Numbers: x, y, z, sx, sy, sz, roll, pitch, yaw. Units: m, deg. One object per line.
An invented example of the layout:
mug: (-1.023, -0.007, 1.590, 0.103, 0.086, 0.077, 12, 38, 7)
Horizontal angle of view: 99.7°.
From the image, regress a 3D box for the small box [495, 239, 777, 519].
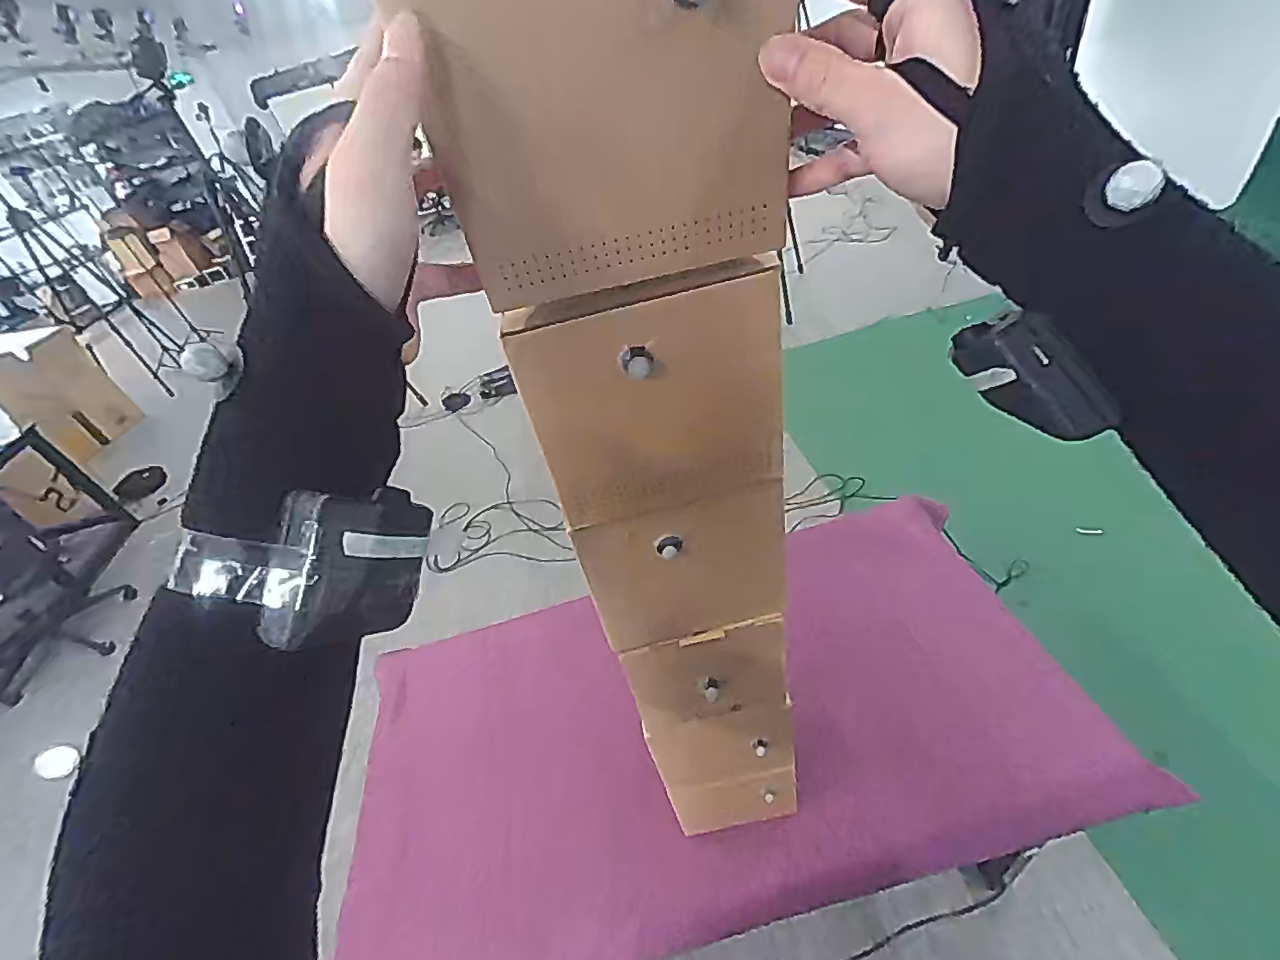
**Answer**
small box: (0.002, -0.094, 0.435, 0.179, 0.176, 0.168, -14, 38, 1)

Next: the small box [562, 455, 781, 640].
small box: (0.029, 0.032, 0.534, 0.179, 0.176, 0.168, -14, 38, 0)

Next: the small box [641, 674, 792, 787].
small box: (0.095, 0.285, 0.730, 0.179, 0.176, 0.168, -14, 39, 2)

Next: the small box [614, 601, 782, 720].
small box: (0.062, 0.158, 0.634, 0.168, 0.176, 0.179, -13, 39, 2)

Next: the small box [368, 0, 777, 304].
small box: (-0.028, -0.228, 0.312, 0.179, 0.176, 0.168, -13, 46, 1)
